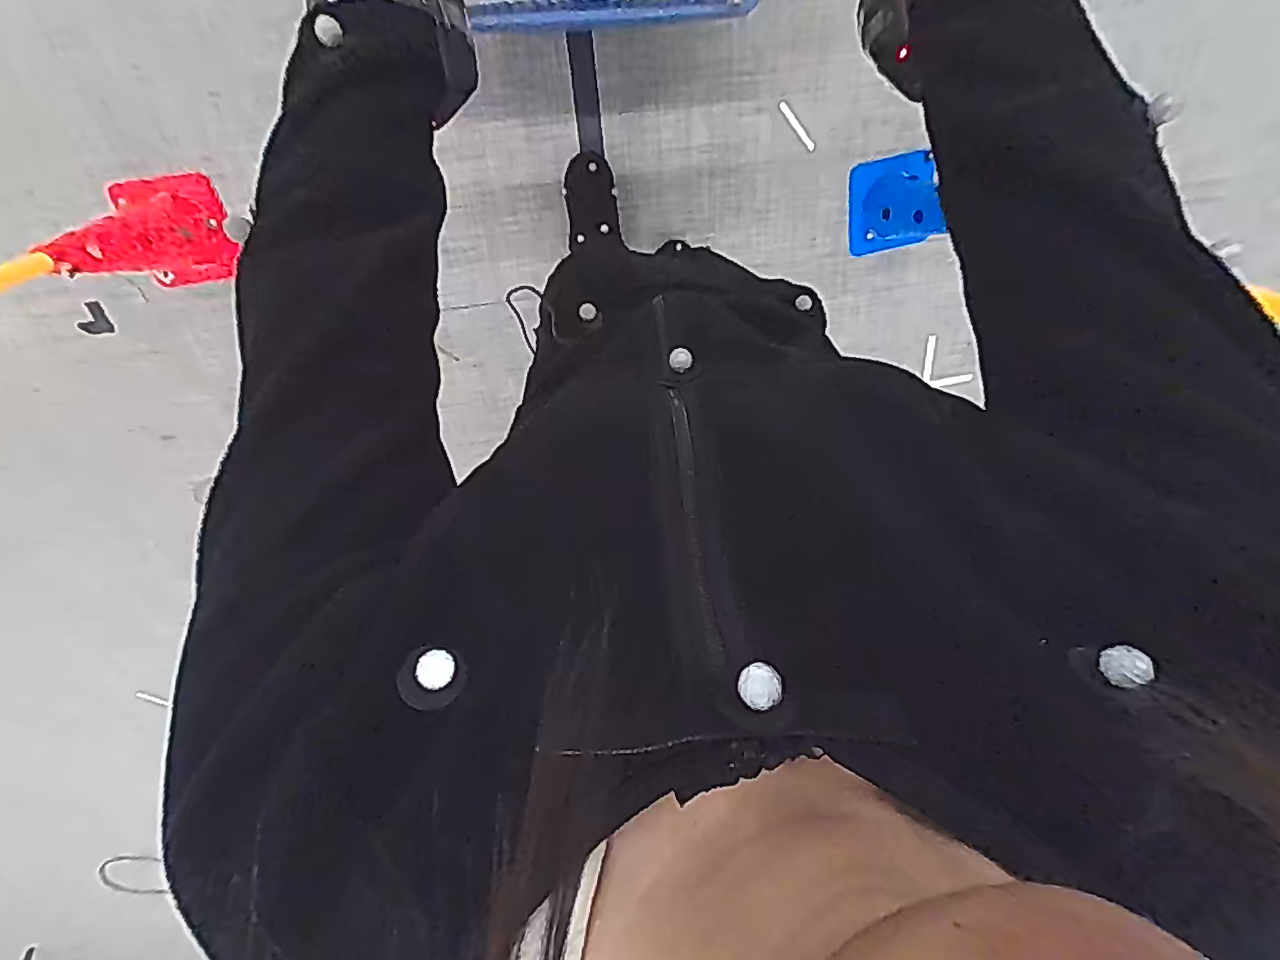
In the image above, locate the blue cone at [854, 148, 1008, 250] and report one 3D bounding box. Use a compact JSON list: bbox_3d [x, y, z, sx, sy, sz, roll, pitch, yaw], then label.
[{"bbox_3d":[0.612,-0.567,1.118,0.193,0.380,0.192,-12,121,-2],"label":"blue cone"}]
